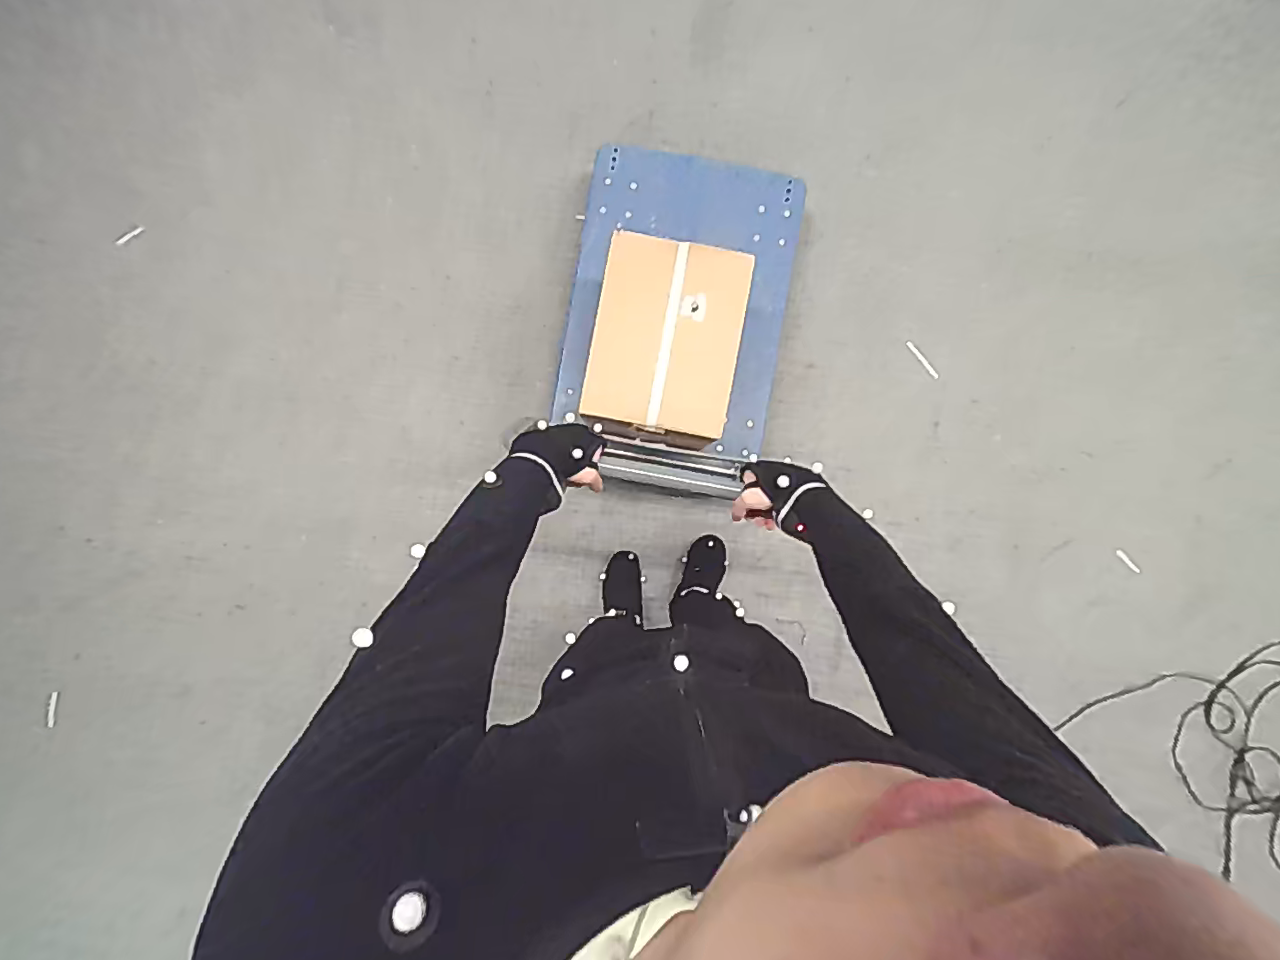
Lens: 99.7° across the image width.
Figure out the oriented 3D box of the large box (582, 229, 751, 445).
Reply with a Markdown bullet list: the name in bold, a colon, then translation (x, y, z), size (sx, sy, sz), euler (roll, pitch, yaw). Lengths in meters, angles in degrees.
- **large box**: translation (0.058, -0.314, 1.299), size (0.320, 0.320, 0.408), euler (10, 88, -1)
